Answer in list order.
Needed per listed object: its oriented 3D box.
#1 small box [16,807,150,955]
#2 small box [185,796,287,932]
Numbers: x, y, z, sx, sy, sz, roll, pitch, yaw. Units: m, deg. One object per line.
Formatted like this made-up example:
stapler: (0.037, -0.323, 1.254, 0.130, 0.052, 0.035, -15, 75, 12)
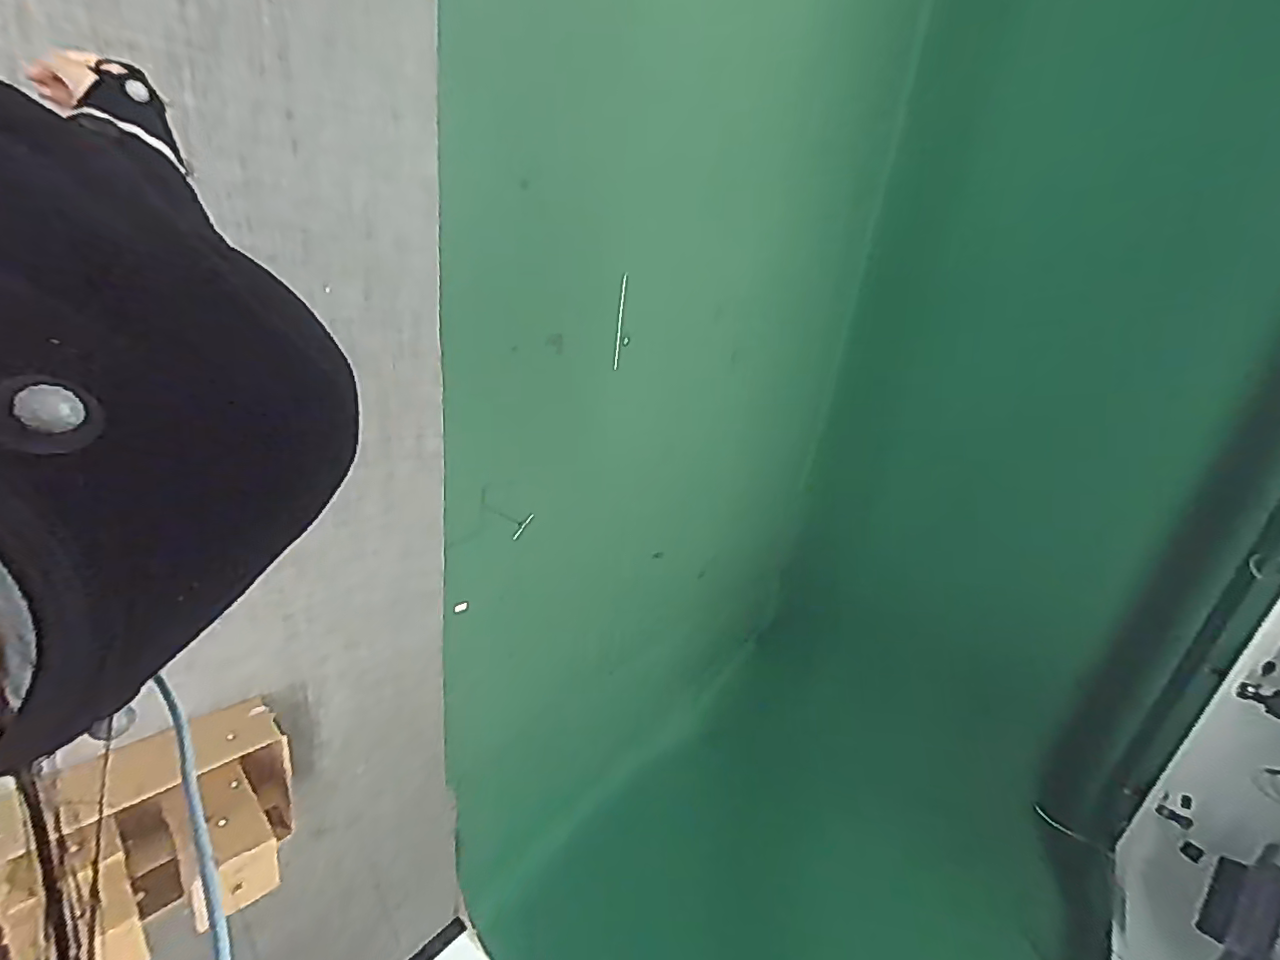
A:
small box: (-1.277, 0.908, 1.243, 0.179, 0.176, 0.168, -19, 122, -48)
small box: (-0.994, 0.933, 1.333, 0.168, 0.176, 0.179, -13, 118, -49)
